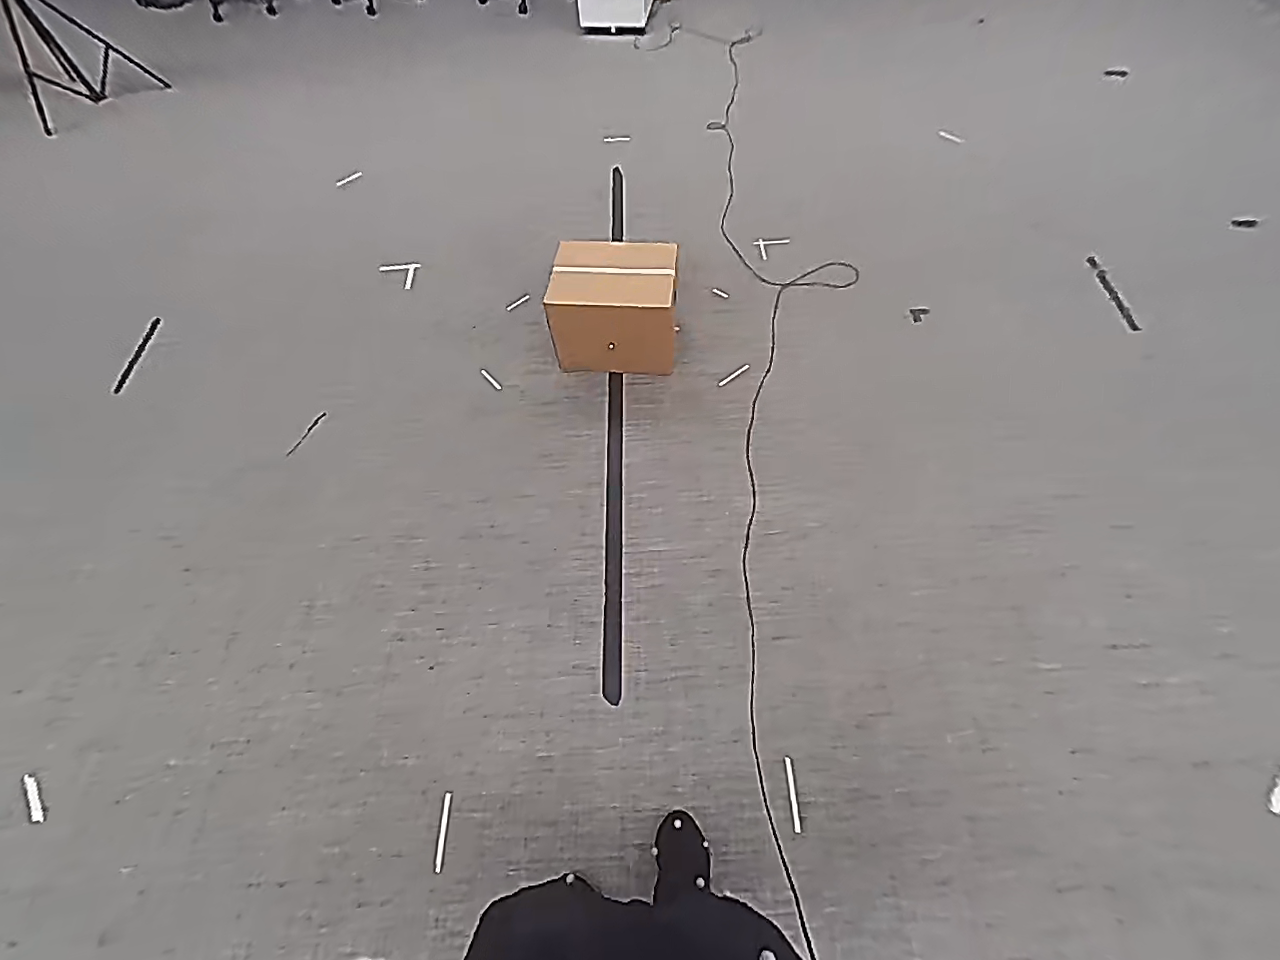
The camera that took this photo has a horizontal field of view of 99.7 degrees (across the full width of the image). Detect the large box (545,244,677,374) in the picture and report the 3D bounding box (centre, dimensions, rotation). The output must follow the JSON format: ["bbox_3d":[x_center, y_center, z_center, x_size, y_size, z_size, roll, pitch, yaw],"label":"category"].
[{"bbox_3d":[-0.084,-0.585,1.869,0.408,0.320,0.320,4,60,5],"label":"large box"}]
